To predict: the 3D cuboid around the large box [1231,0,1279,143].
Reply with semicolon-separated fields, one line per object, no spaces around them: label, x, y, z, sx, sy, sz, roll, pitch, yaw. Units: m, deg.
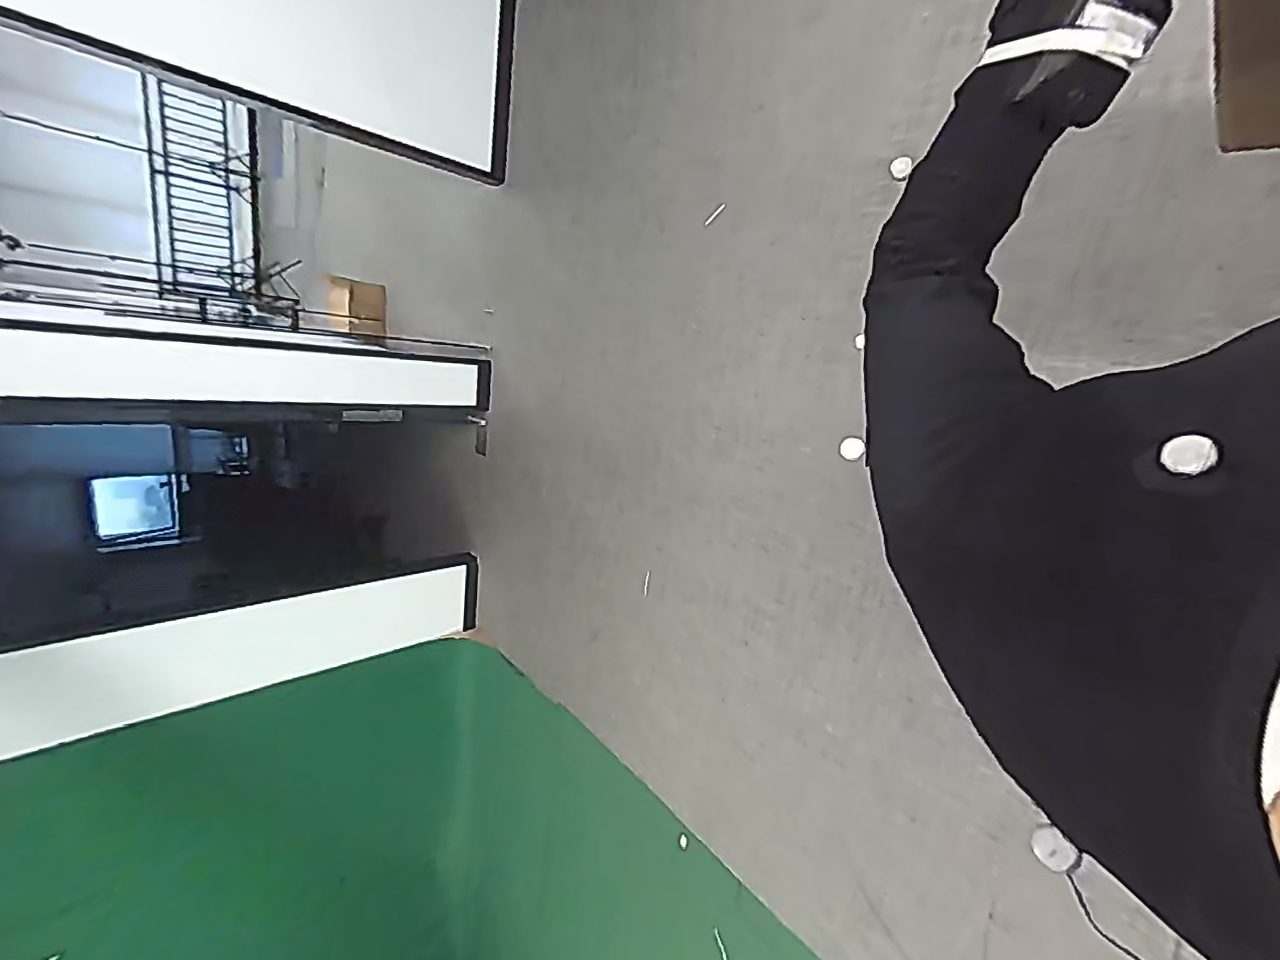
large box;0.582;-0.386;0.220;0.408;0.320;0.320;23;111;43
